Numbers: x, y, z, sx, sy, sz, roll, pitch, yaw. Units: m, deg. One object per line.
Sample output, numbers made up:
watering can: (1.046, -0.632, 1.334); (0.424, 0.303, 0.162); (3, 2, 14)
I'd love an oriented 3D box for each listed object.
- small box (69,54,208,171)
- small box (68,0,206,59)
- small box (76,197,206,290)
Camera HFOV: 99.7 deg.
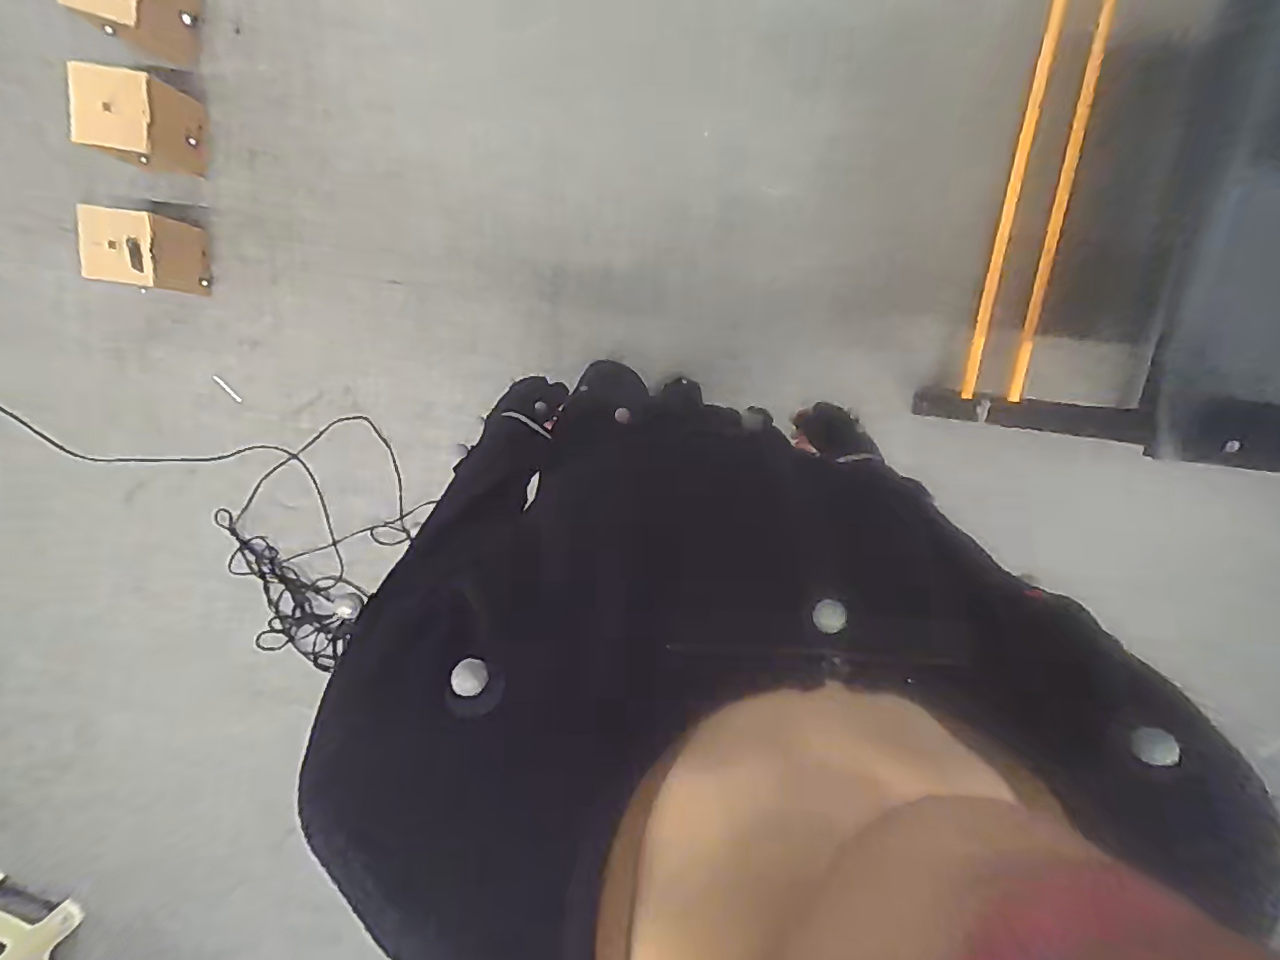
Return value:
small box: (-1.169, -0.852, 1.270); (0.179, 0.176, 0.168); (8, 101, -1)
small box: (-1.141, -1.103, 1.221); (0.179, 0.176, 0.168); (16, 101, -2)
small box: (-1.207, -0.569, 1.324); (0.179, 0.176, 0.168); (8, 101, 1)
